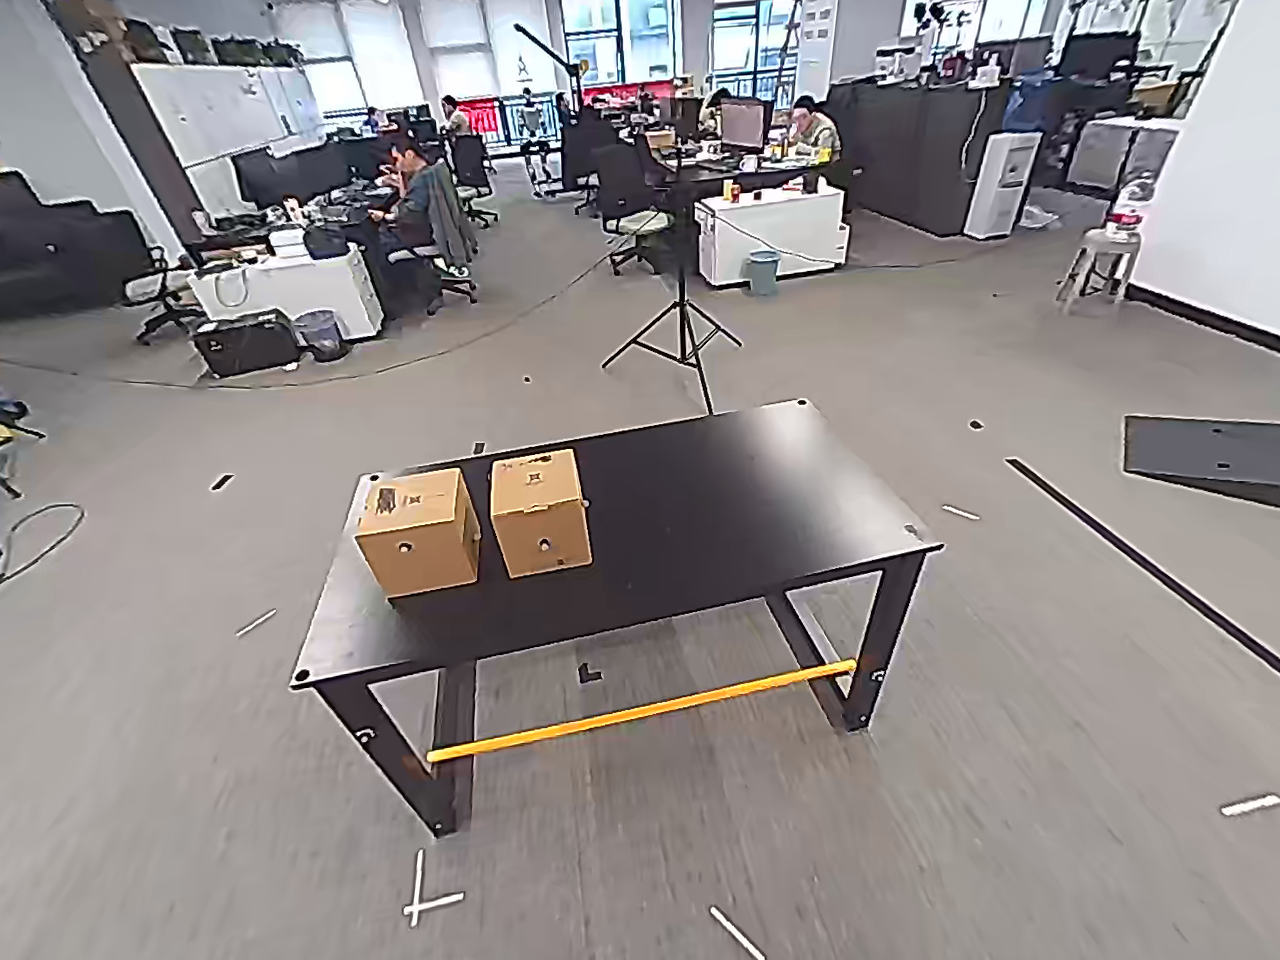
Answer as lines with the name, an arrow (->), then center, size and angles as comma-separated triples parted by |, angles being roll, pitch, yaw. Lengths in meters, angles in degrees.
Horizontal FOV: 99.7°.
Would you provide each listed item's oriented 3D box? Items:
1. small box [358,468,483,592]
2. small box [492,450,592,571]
small box -> -0.425, 0.102, 1.076 | 0.179, 0.176, 0.168 | -10, 38, -7
small box -> -0.196, 0.066, 1.096 | 0.168, 0.176, 0.179 | -10, 39, -5
